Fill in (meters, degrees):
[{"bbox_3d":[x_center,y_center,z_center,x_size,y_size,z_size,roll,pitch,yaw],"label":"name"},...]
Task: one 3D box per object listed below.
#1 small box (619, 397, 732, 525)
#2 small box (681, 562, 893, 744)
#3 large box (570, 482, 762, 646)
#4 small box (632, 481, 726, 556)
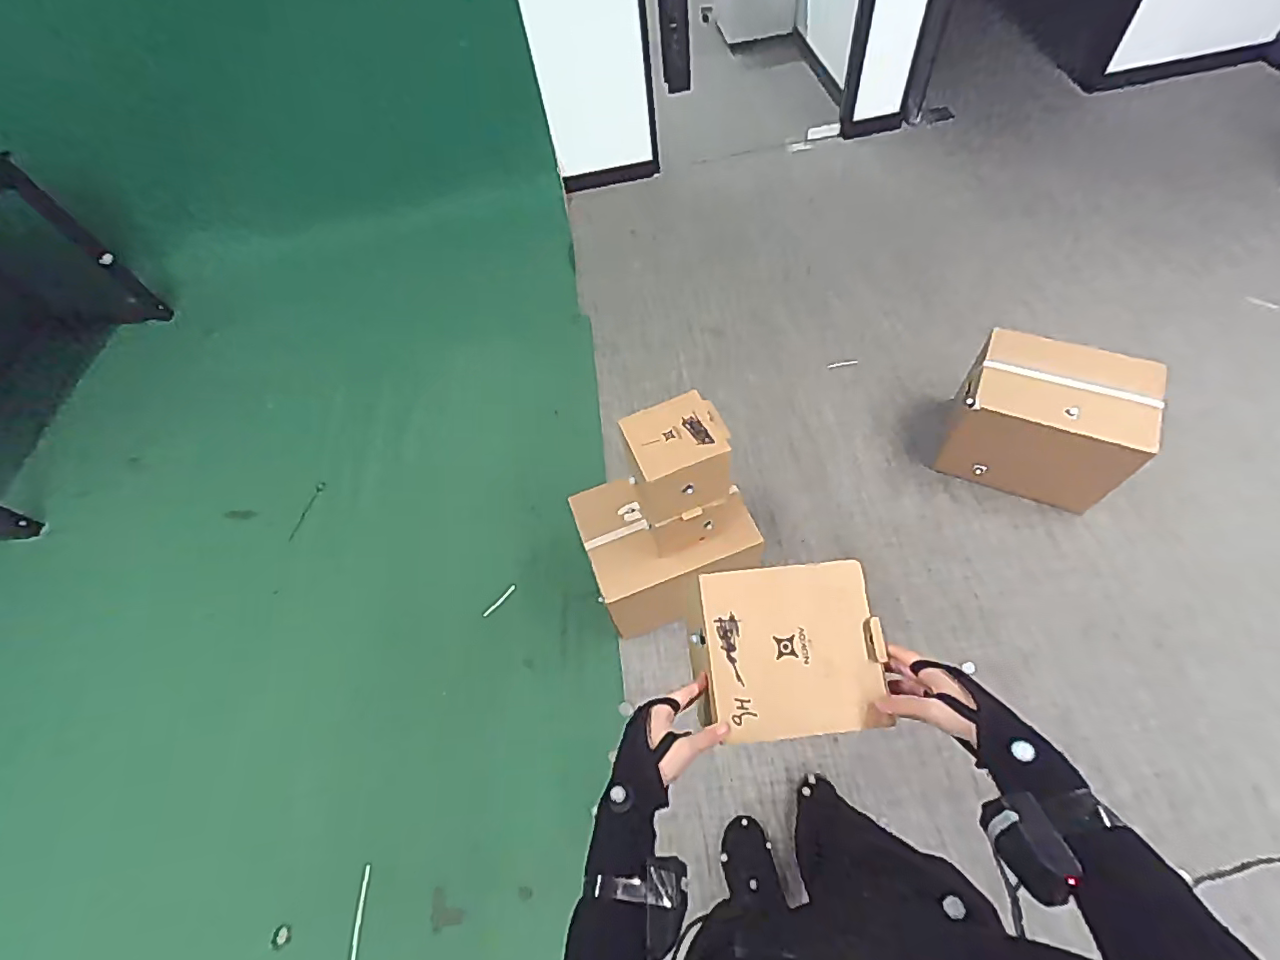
[{"bbox_3d":[0.073,-0.036,1.111,0.179,0.176,0.168,-21,57,-6],"label":"small box"},{"bbox_3d":[0.149,0.193,0.615,0.179,0.176,0.168,-5,71,-3],"label":"small box"},{"bbox_3d":[0.075,0.193,1.453,0.408,0.320,0.320,-22,56,-4],"label":"large box"},{"bbox_3d":[0.090,0.056,1.246,0.168,0.176,0.179,-20,57,-5],"label":"small box"}]
